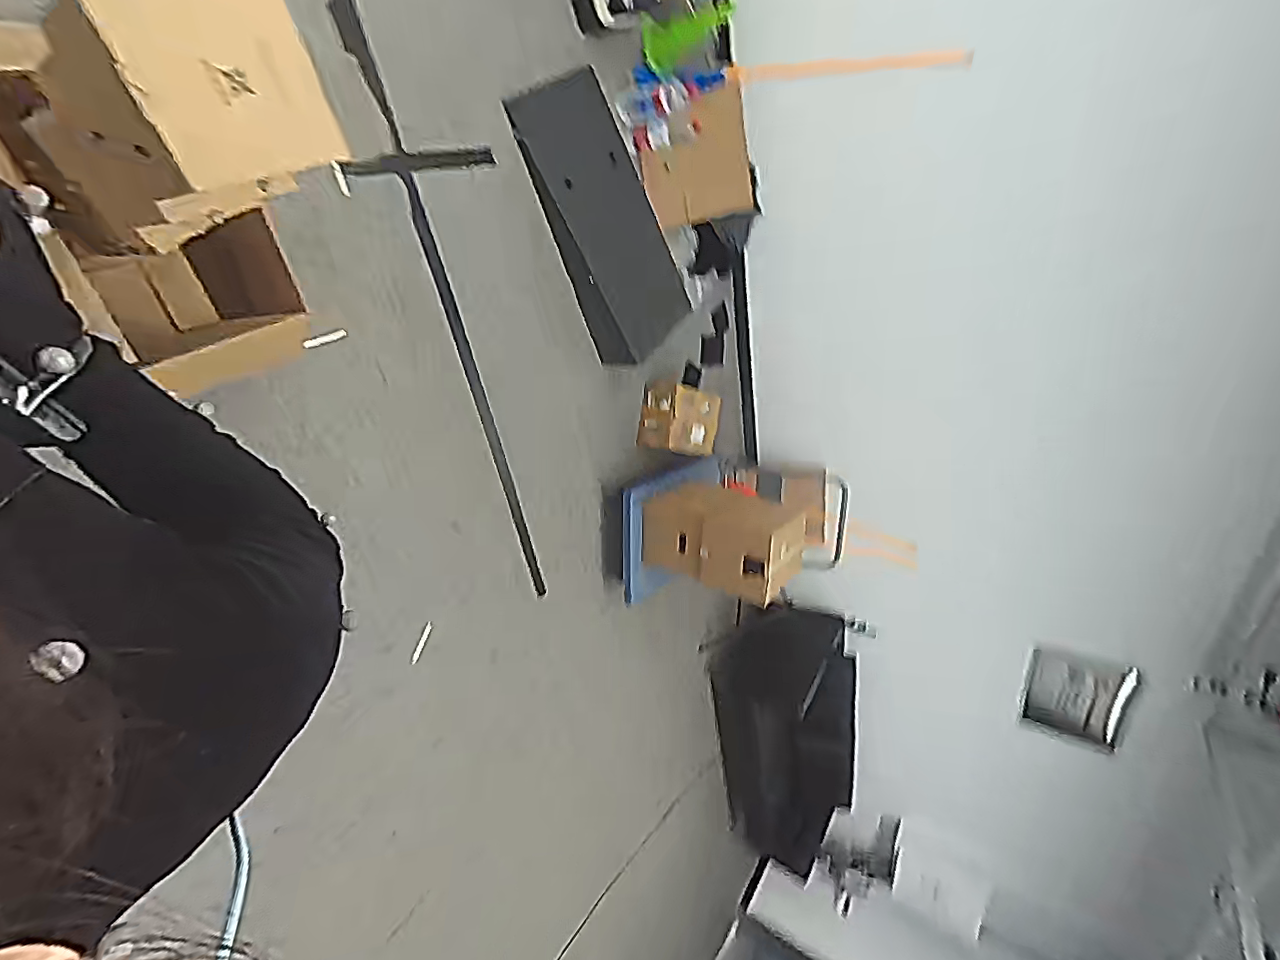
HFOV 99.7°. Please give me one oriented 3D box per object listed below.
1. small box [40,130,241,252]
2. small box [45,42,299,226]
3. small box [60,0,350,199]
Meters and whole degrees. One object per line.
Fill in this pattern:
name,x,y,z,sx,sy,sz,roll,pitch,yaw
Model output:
small box,-0.834,-0.504,0.909,0.168,0.176,0.179,-55,142,-25
small box,-0.593,-0.440,0.692,0.168,0.176,0.179,-43,135,-35
small box,-0.468,-0.416,0.589,0.179,0.176,0.168,-43,136,-36
